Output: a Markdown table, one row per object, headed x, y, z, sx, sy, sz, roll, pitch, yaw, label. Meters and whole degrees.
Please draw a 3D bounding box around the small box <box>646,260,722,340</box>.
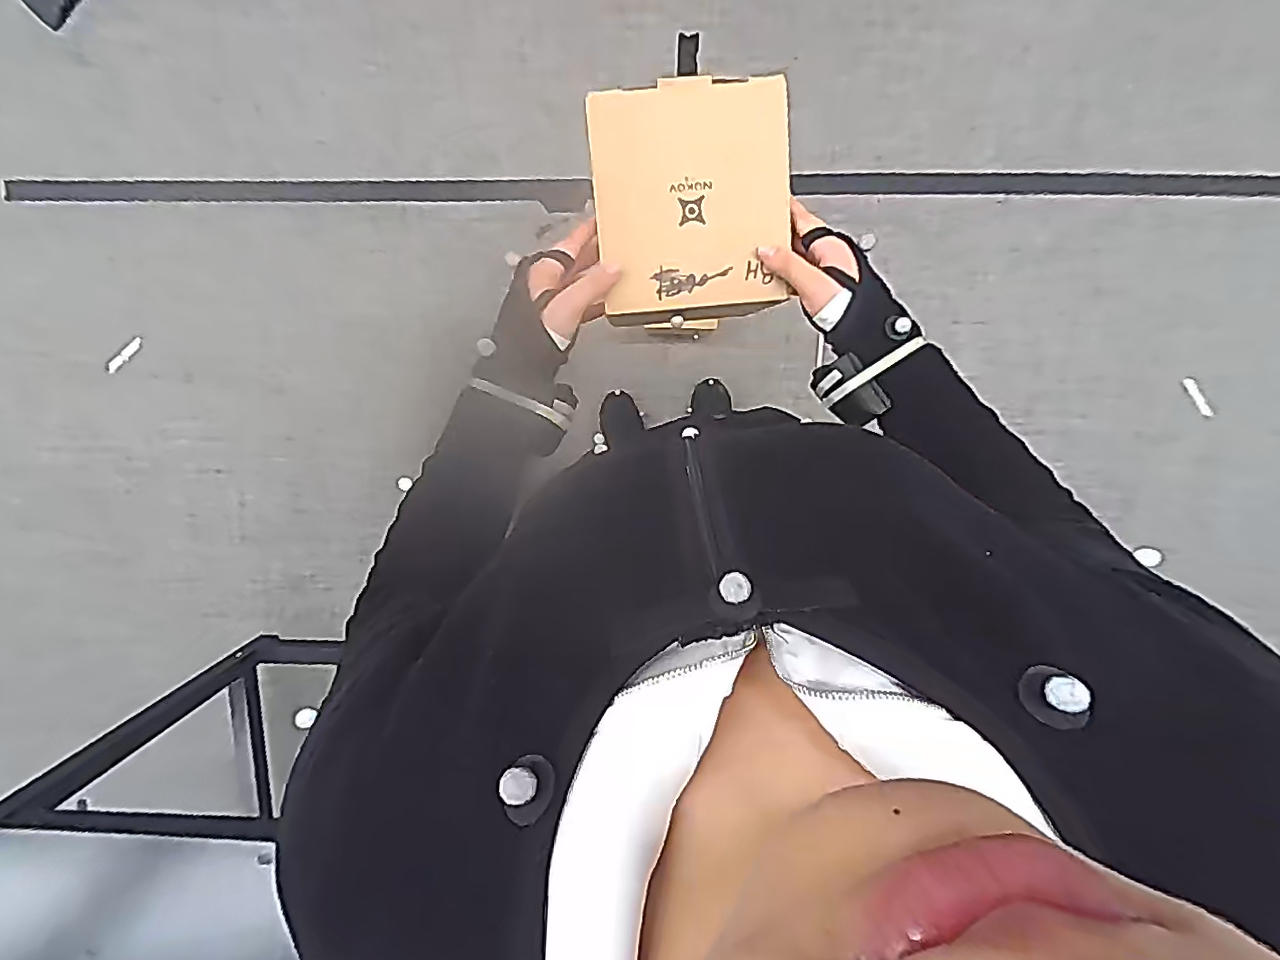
| x | y | z | sx | sy | sz | roll | pitch | yaw | label |
| --- | --- | --- | --- | --- | --- | --- | --- | --- | --- |
| 0.105 | -0.443 | 1.344 | 0.179 | 0.176 | 0.168 | 1 | 99 | 2 | small box |
